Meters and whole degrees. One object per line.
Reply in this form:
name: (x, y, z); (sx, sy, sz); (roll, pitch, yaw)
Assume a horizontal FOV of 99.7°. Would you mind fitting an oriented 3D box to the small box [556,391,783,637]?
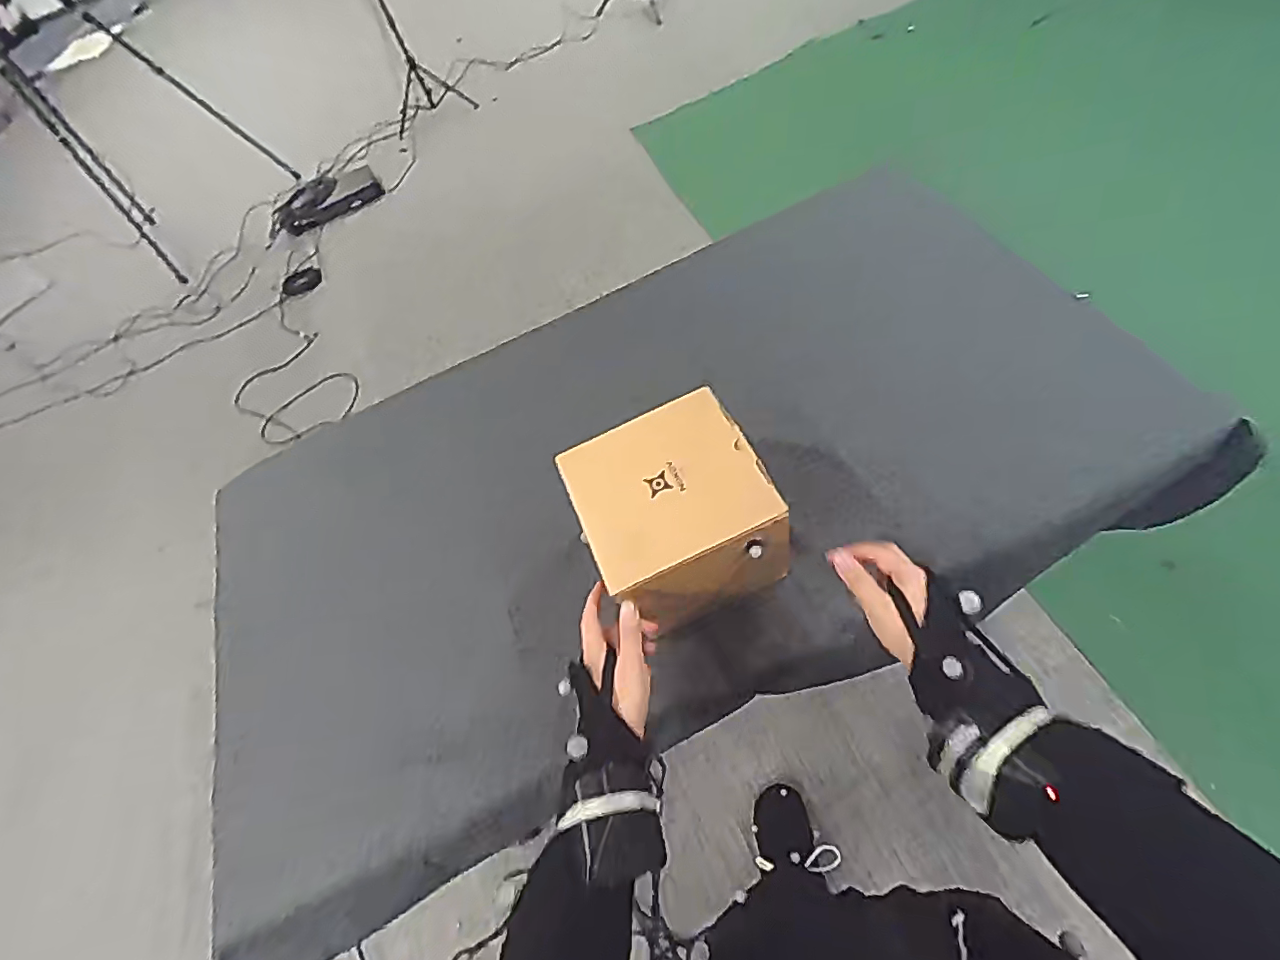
small box: (0.038, 0.045, 0.578); (0.179, 0.176, 0.168); (-26, 58, -2)
